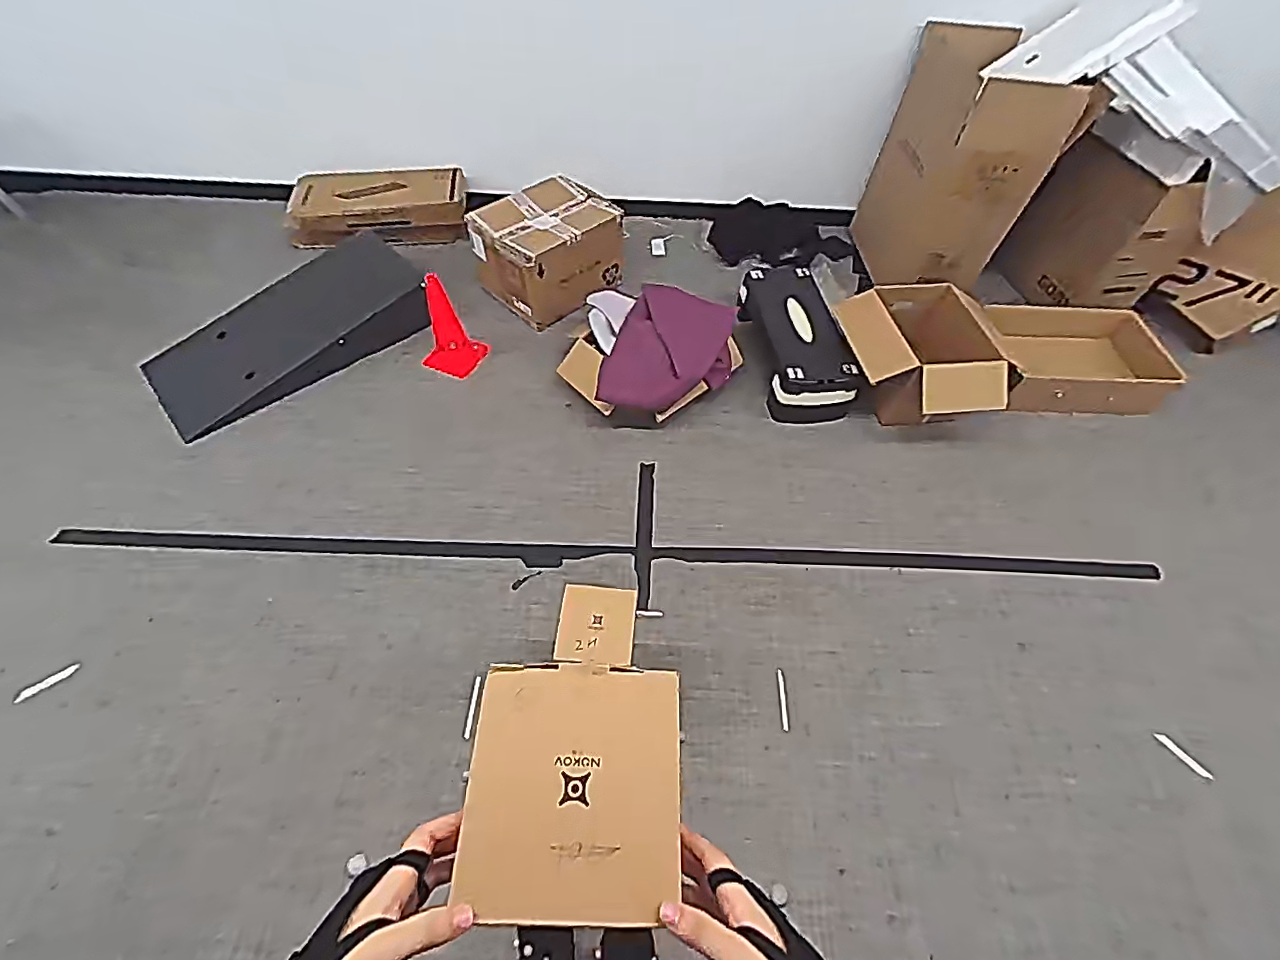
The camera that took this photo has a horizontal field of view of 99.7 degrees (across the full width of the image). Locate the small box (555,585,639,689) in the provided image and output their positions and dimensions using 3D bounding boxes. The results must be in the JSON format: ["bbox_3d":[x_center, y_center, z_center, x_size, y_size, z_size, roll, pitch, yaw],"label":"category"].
[{"bbox_3d":[-0.094,0.362,1.241,0.168,0.176,0.179,5,55,1],"label":"small box"}]
